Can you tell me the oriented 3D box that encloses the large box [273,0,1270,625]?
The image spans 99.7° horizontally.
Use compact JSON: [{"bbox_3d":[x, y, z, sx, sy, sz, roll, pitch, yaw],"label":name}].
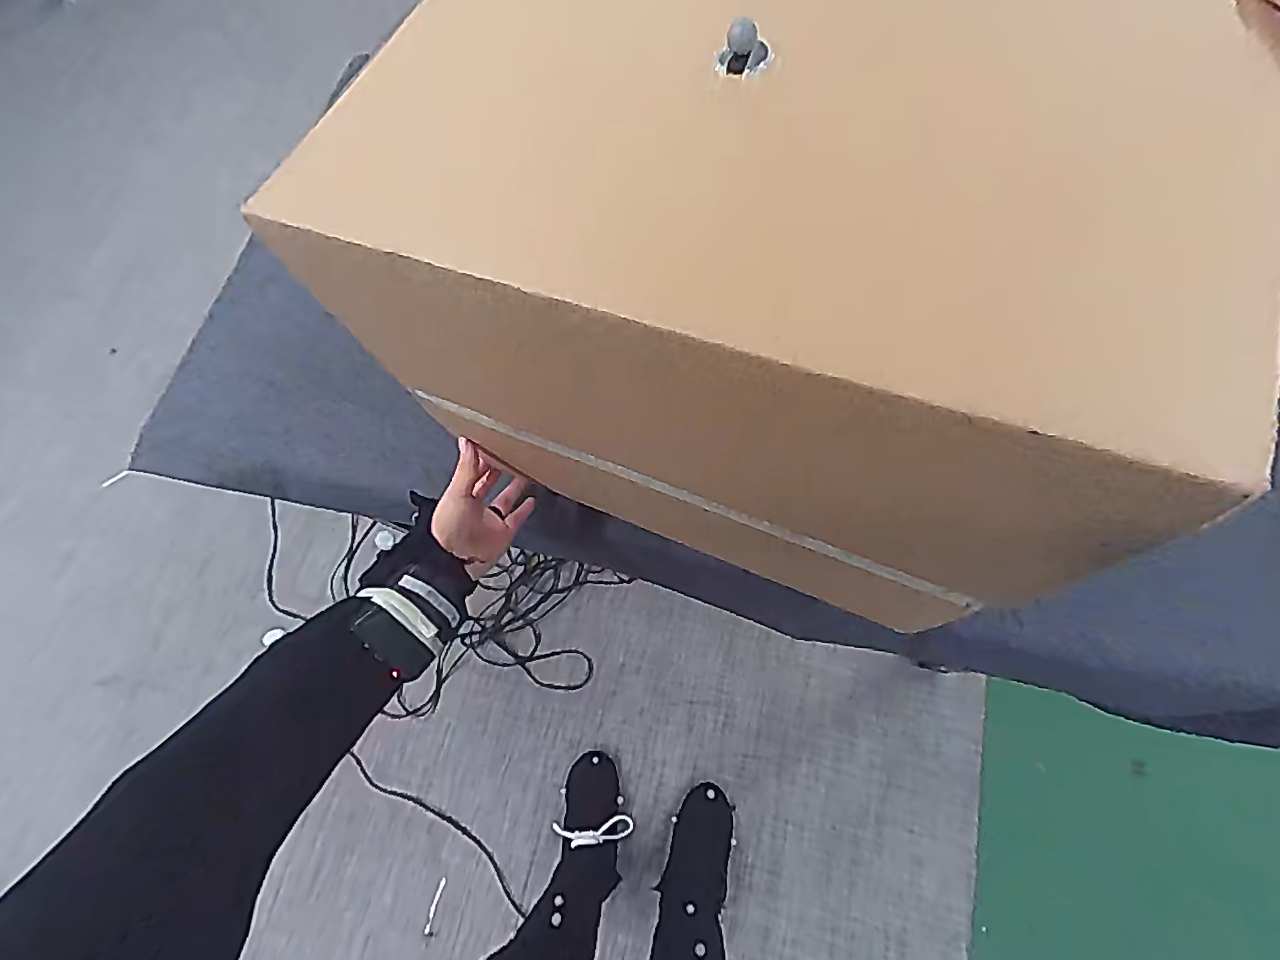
[{"bbox_3d":[0.073,-0.125,0.391,0.408,0.320,0.320,20,72,16],"label":"large box"}]
